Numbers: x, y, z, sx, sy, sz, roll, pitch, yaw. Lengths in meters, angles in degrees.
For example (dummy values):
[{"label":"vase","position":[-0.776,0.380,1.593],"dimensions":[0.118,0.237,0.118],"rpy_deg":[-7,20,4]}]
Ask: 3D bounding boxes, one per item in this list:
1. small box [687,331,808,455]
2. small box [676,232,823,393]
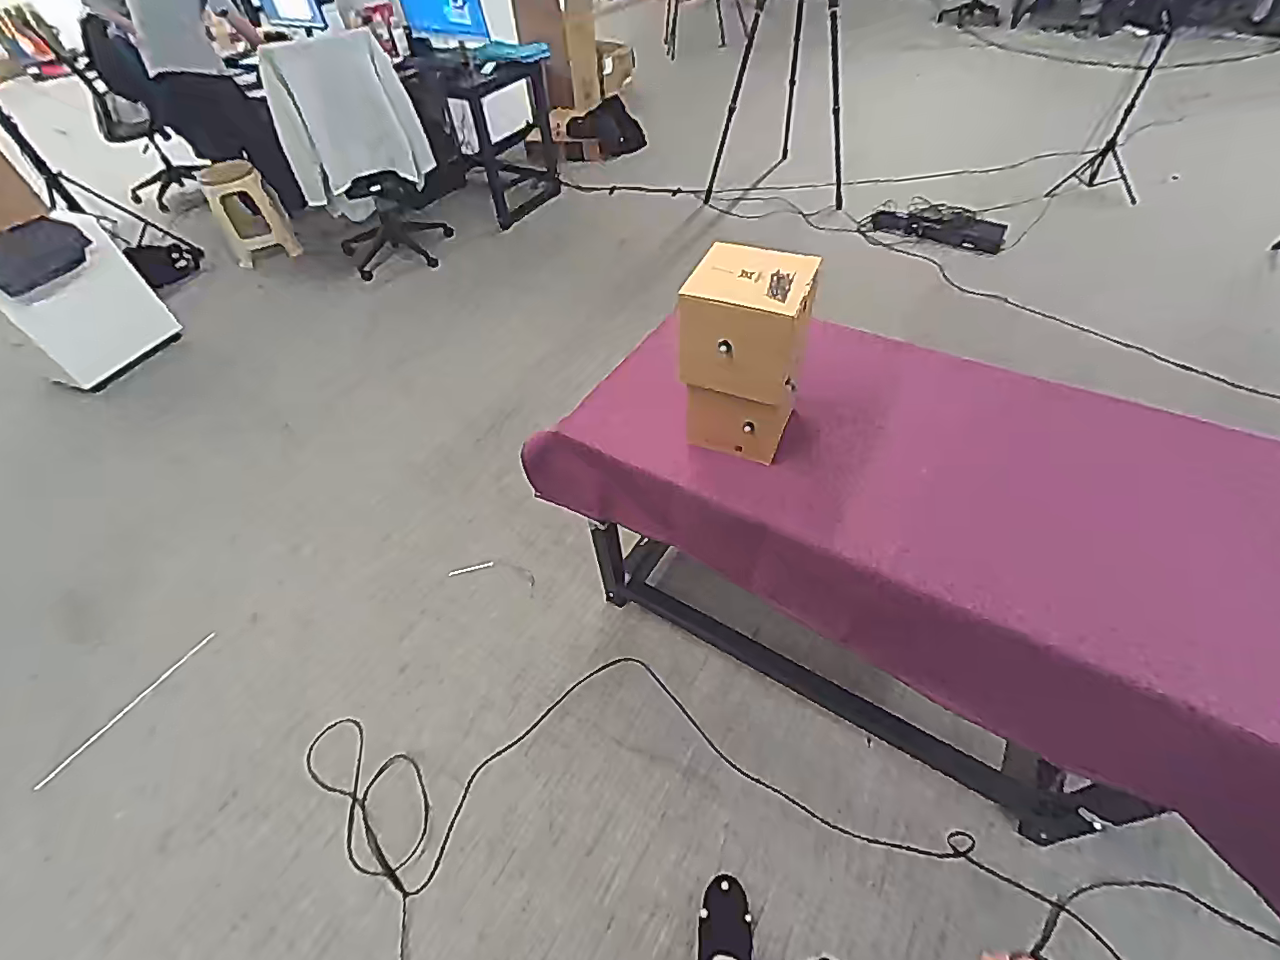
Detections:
[{"label":"small box","position":[0.194,-0.174,0.997],"dimensions":[0.168,0.176,0.179],"rpy_deg":[19,54,18]},{"label":"small box","position":[0.169,-0.261,0.858],"dimensions":[0.179,0.176,0.168],"rpy_deg":[18,54,18]}]
